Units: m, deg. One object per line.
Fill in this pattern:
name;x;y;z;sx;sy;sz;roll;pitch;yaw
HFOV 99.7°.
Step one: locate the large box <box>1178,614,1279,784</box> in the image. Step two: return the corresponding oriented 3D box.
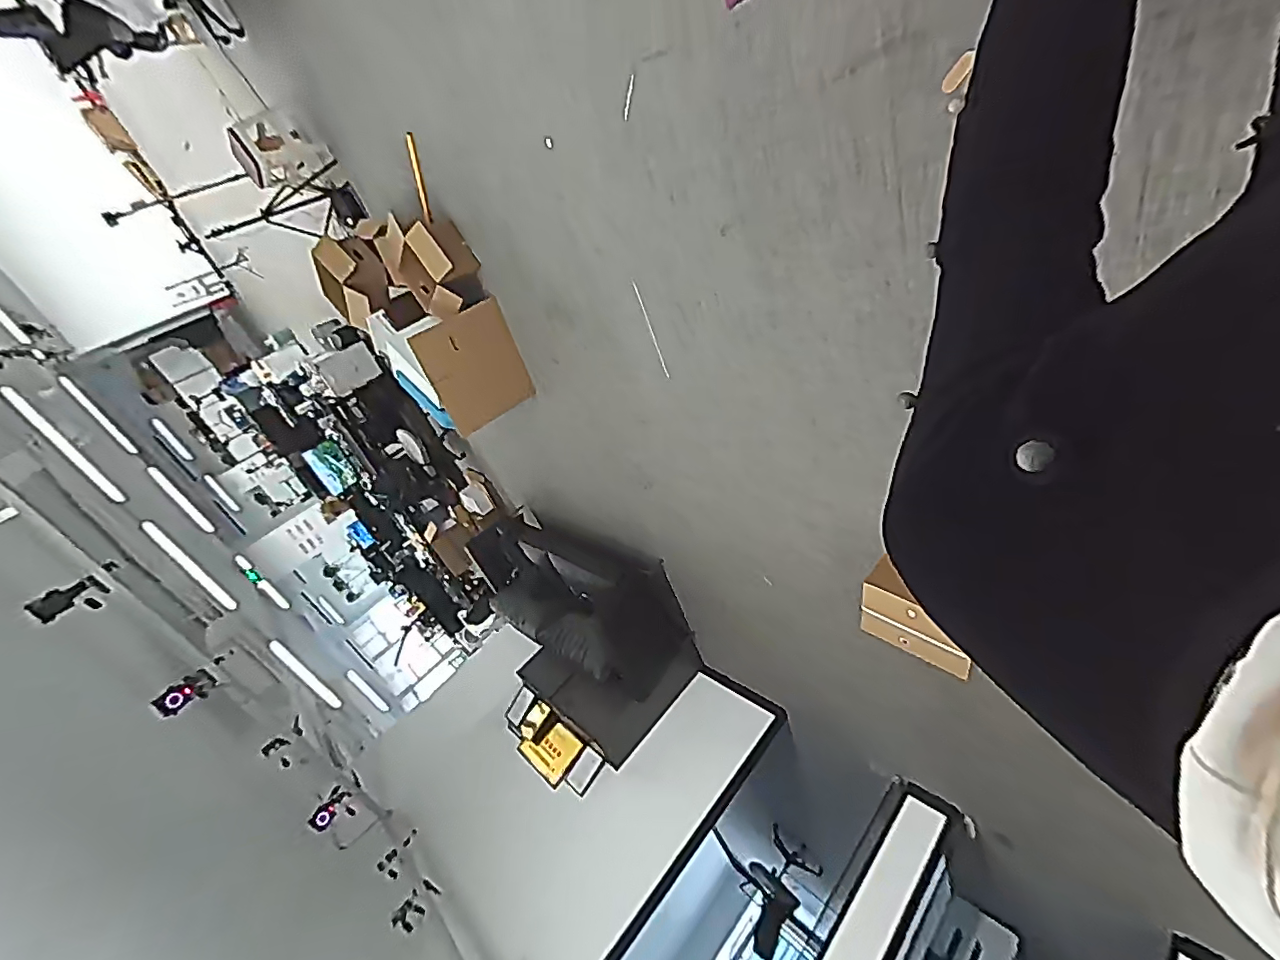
large box;1.728;0.553;1.368;0.320;0.320;0.408;49;151;-1
